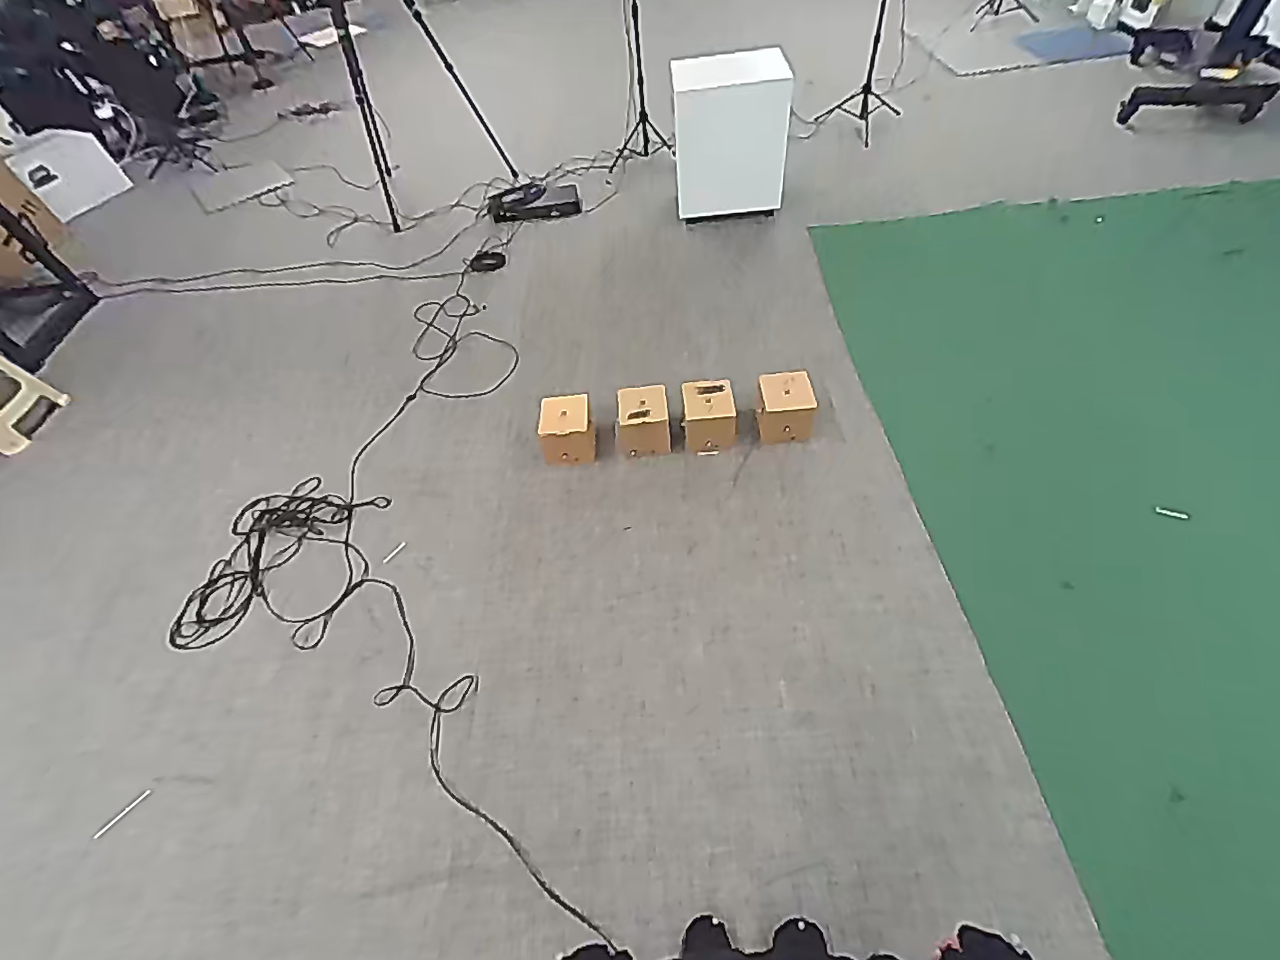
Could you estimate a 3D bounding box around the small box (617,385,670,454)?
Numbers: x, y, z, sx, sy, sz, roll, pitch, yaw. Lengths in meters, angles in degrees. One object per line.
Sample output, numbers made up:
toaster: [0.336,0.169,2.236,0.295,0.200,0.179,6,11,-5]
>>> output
small box: [0.014,-0.205,1.899,0.168,0.176,0.179,-6,52,3]

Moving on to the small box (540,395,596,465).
small box: [-0.250,-0.174,1.913,0.168,0.176,0.179,-6,53,4]

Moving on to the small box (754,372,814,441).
small box: [0.492,-0.247,1.872,0.168,0.176,0.179,-5,53,3]
